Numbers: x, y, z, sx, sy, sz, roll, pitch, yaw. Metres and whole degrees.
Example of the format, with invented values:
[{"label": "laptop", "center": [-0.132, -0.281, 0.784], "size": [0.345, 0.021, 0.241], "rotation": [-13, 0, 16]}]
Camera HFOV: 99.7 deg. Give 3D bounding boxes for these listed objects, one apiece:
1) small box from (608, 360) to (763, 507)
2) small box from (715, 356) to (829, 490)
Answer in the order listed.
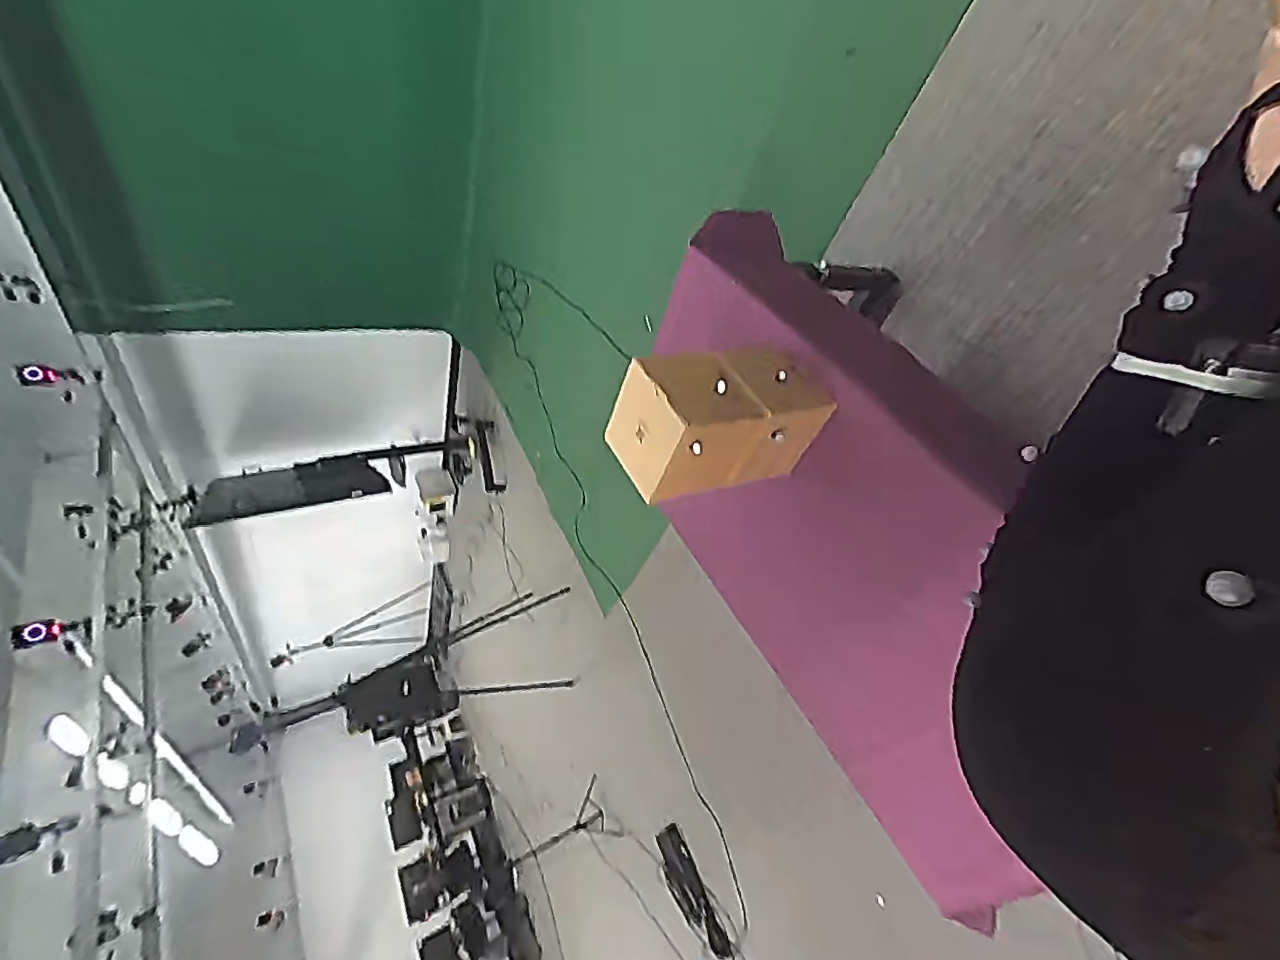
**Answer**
[{"label": "small box", "center": [0.074, -0.082, 0.903], "size": [0.168, 0.176, 0.179], "rotation": [56, 140, 31]}, {"label": "small box", "center": [0.213, -0.111, 0.984], "size": [0.168, 0.176, 0.179], "rotation": [56, 141, 31]}]
